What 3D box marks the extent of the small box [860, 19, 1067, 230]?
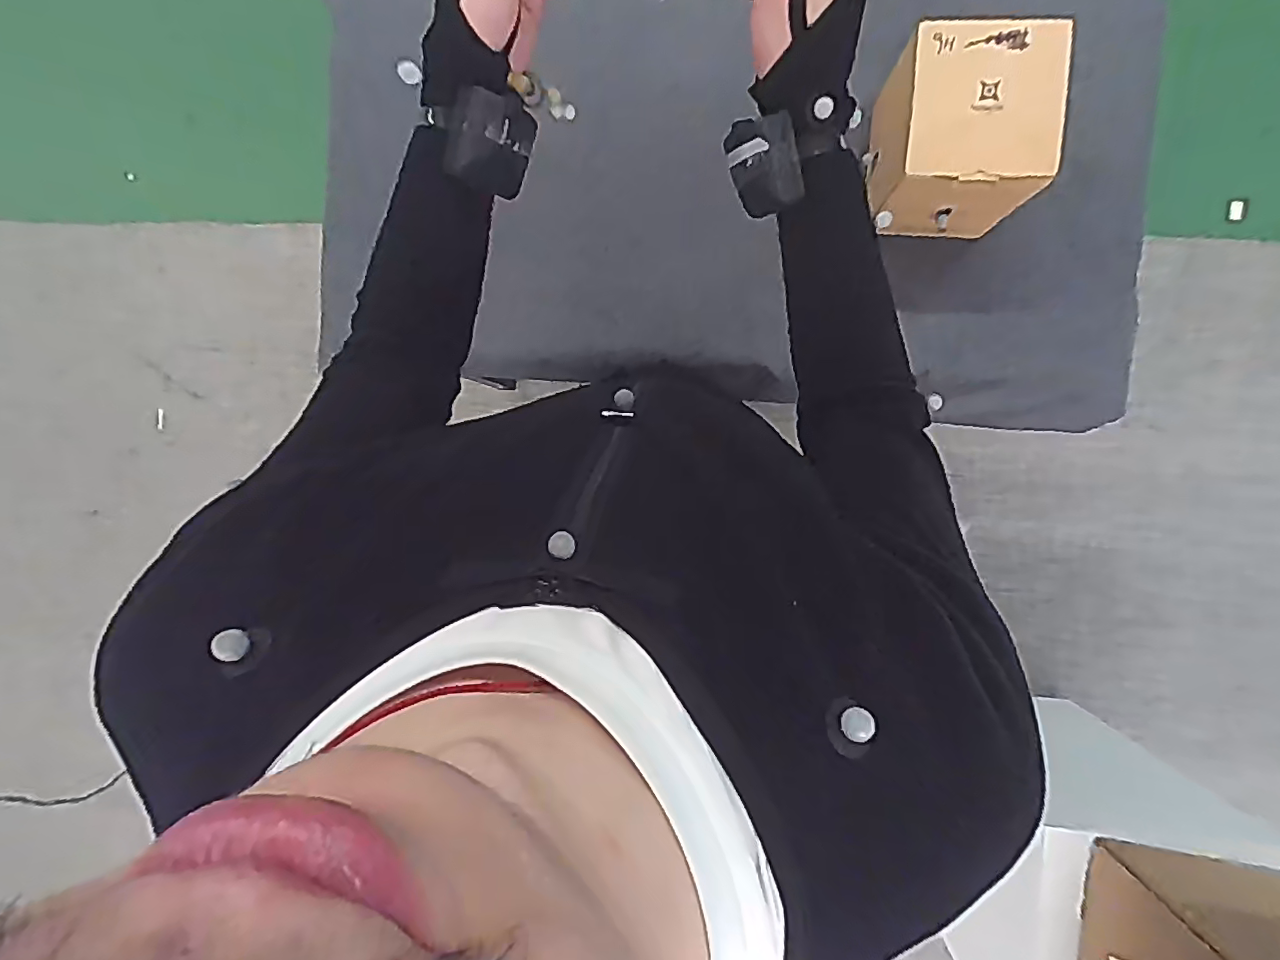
[{"bbox_3d":[0.396,-0.439,0.695,0.168,0.176,0.179,4,95,5],"label":"small box"}]
